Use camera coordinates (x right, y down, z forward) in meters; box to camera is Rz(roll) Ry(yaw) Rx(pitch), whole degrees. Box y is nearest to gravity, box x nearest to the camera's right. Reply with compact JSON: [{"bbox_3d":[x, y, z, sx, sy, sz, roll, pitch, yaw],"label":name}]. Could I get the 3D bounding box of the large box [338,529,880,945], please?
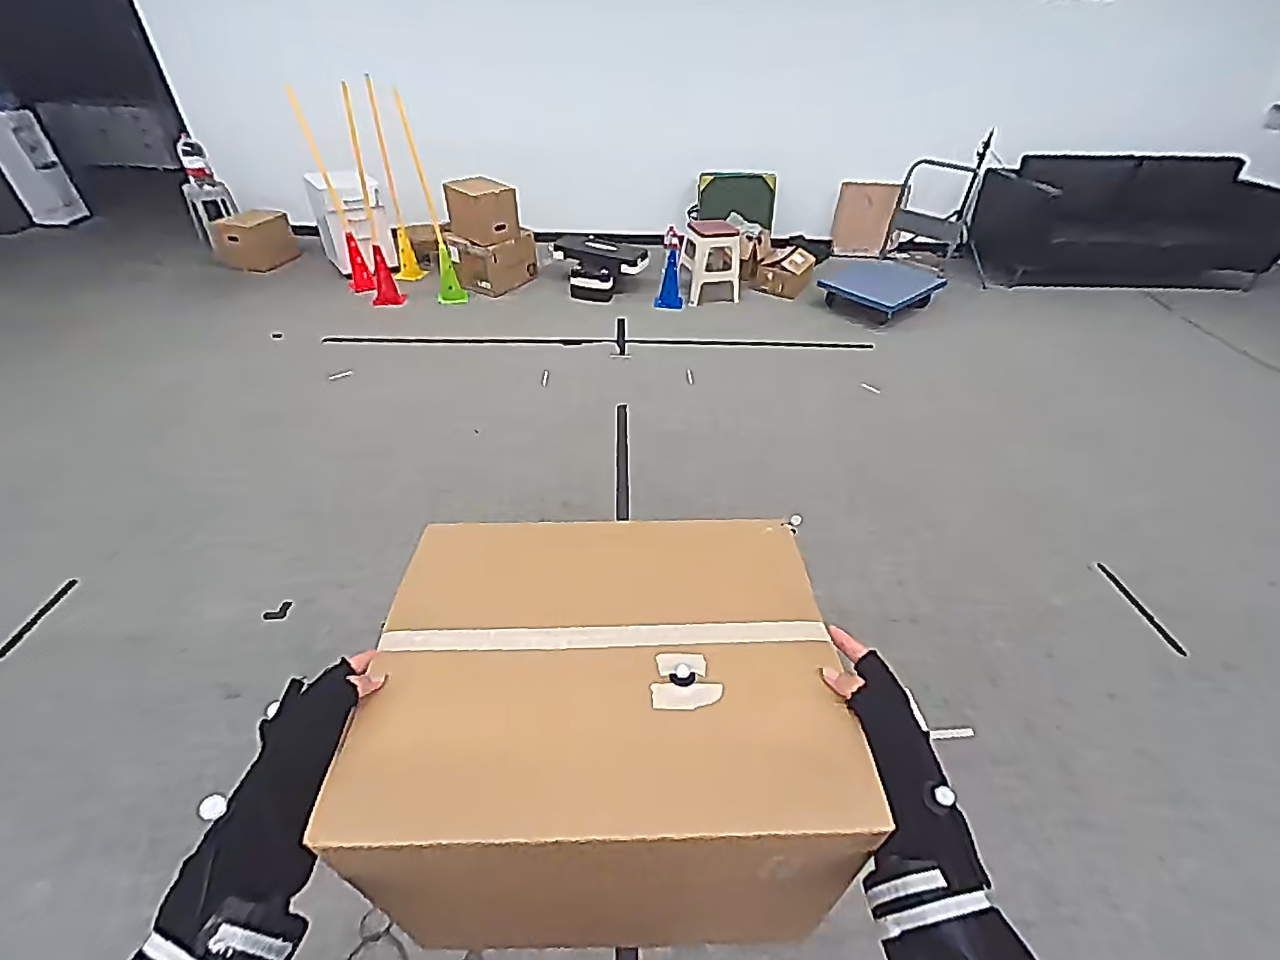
[{"bbox_3d":[-0.026,0.271,0.596,0.408,0.320,0.320,-1,39,-1],"label":"large box"}]
